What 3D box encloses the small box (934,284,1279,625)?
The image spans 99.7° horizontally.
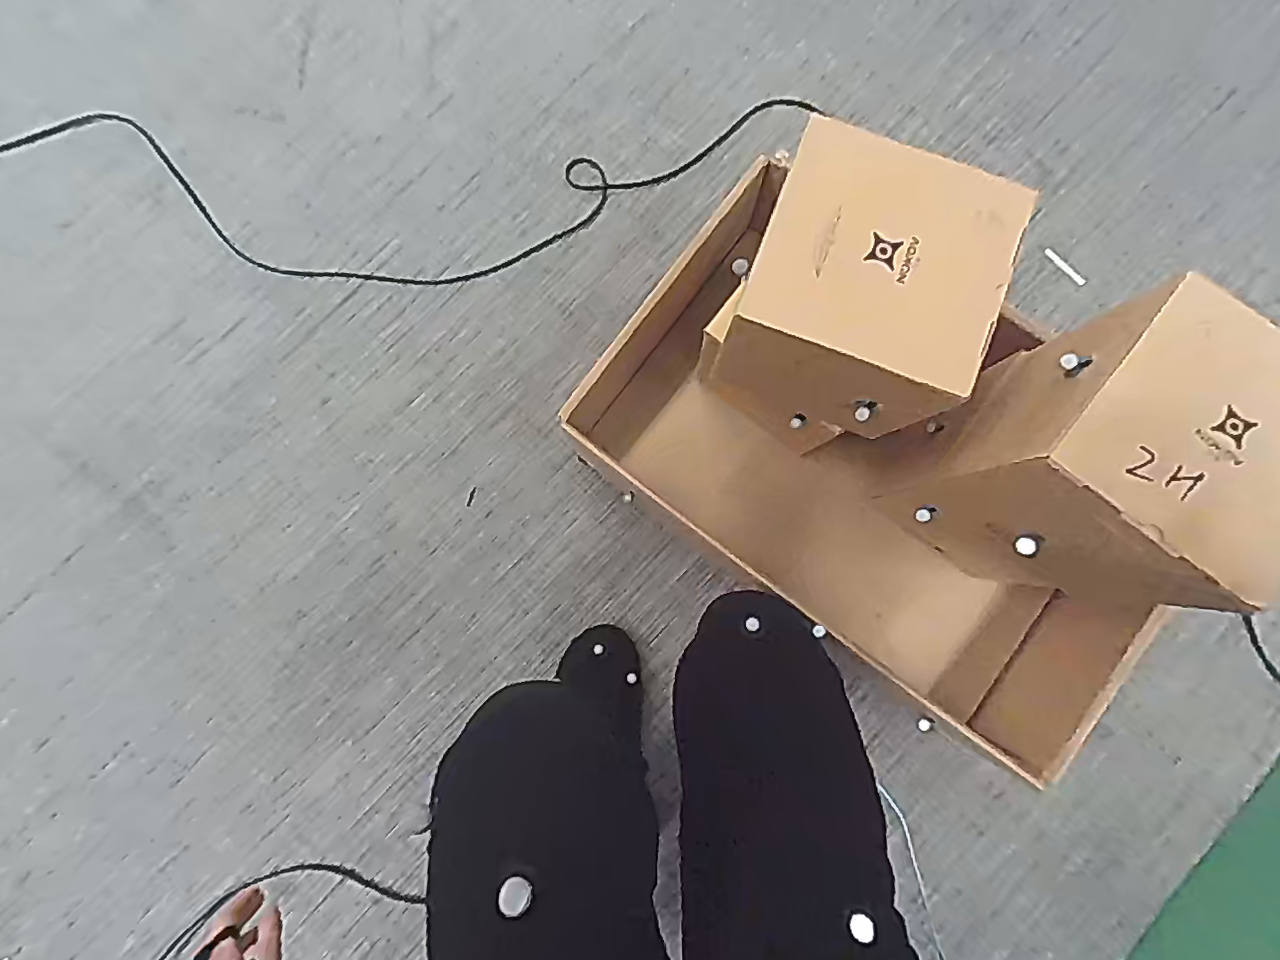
[{"bbox_3d":[0.386,-0.013,0.441,0.168,0.176,0.179,39,86,6],"label":"small box"}]
